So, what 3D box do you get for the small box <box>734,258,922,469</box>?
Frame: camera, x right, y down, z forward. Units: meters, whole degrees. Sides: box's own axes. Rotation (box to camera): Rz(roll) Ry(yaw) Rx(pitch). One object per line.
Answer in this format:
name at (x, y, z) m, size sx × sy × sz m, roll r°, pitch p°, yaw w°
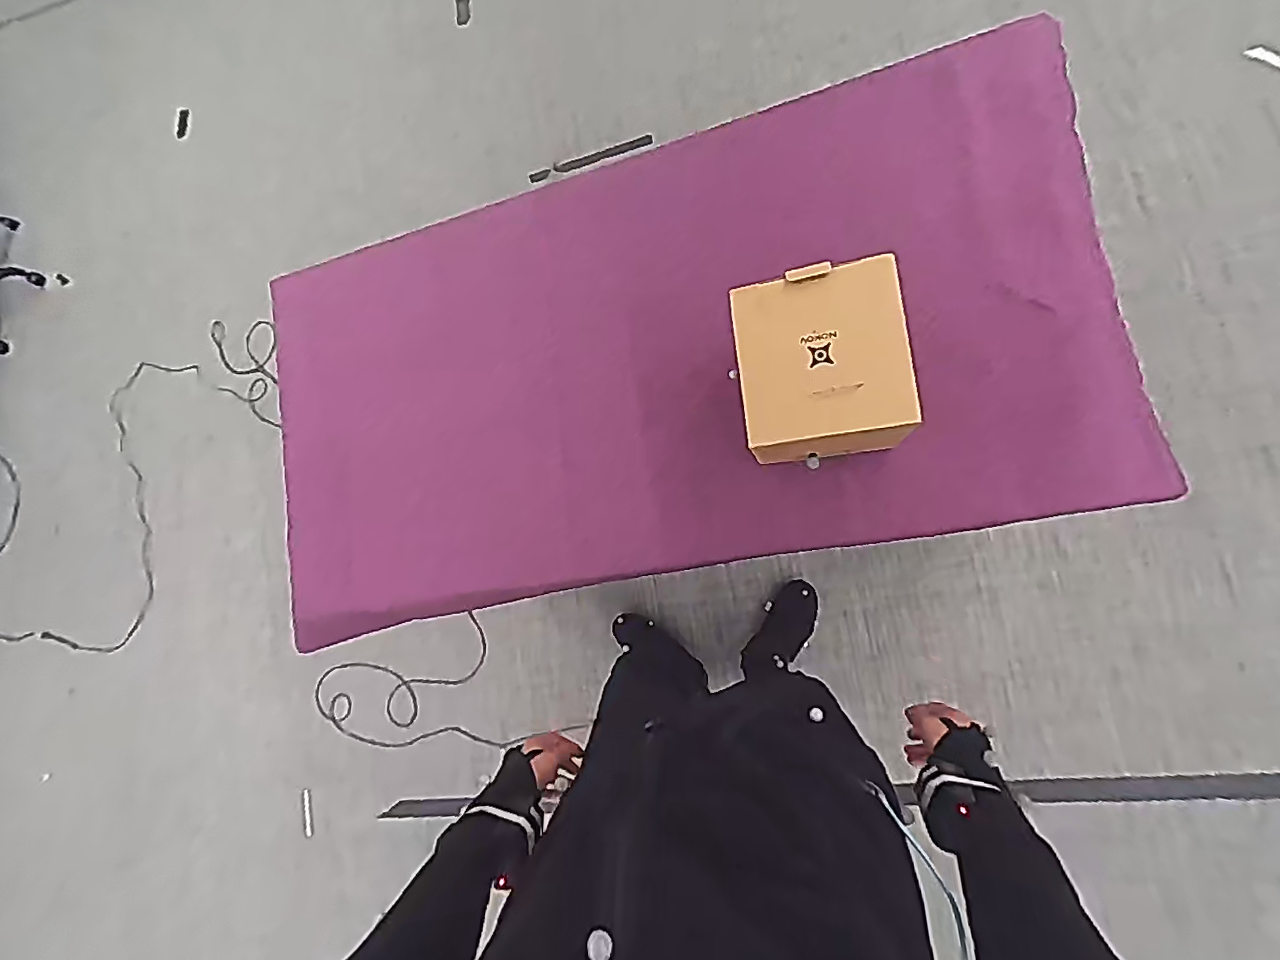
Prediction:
small box at (0.204, -0.116, 0.615) m, size 0.168 × 0.176 × 0.179 m, roll -7°, pitch 82°, yaw 16°
